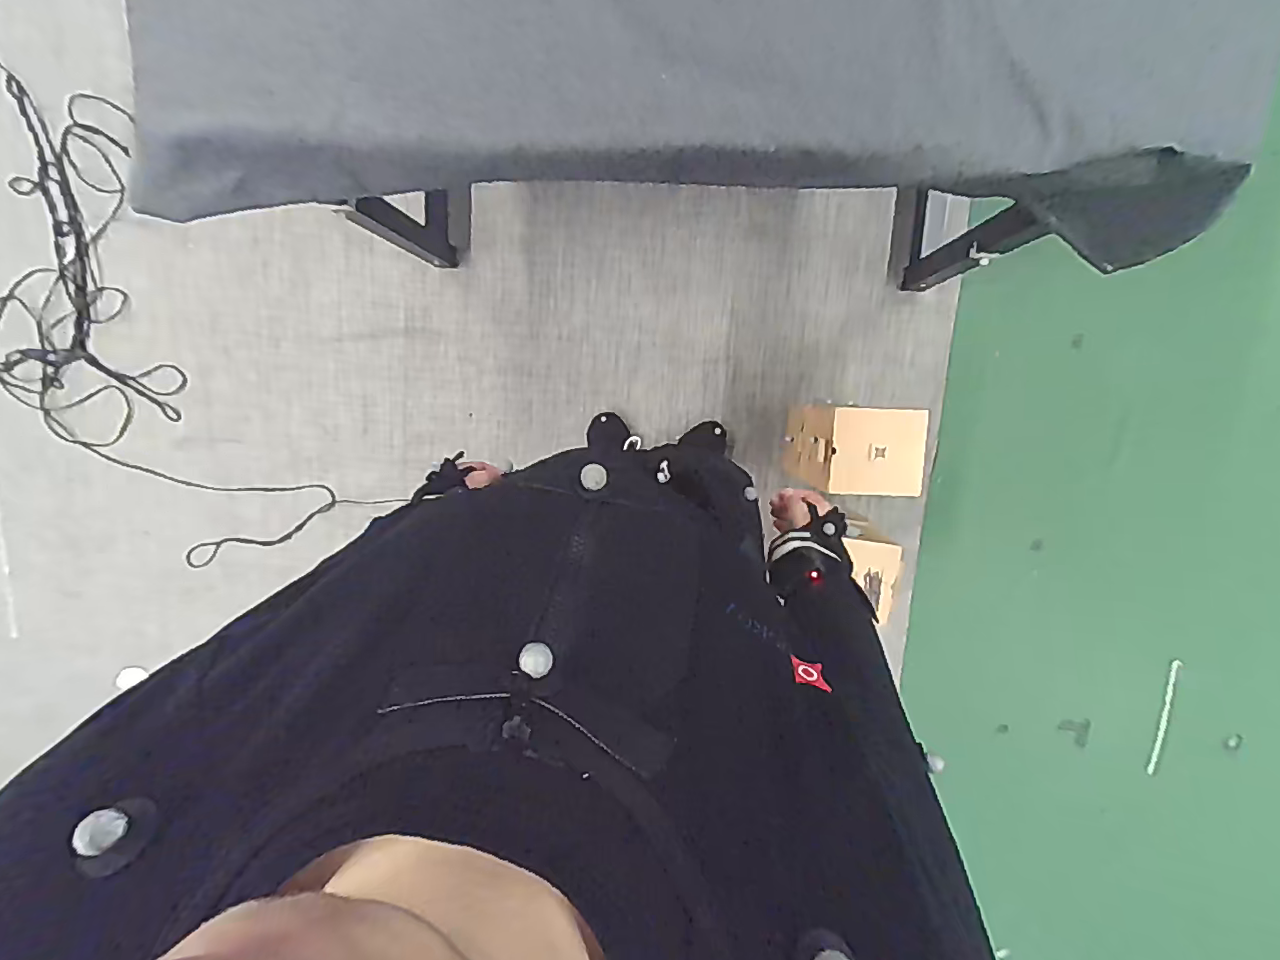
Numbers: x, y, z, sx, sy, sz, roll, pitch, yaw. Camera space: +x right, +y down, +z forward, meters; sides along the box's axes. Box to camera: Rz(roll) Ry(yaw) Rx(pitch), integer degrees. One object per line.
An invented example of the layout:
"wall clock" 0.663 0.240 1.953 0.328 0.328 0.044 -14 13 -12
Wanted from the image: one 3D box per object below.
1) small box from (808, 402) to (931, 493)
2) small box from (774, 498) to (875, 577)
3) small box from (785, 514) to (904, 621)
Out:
"small box" 0.451 -0.071 1.086 0.179 0.176 0.168 2 99 4
"small box" 0.430 0.144 1.288 0.179 0.176 0.168 8 98 5
"small box" 0.415 0.174 1.126 0.179 0.176 0.168 8 98 4
